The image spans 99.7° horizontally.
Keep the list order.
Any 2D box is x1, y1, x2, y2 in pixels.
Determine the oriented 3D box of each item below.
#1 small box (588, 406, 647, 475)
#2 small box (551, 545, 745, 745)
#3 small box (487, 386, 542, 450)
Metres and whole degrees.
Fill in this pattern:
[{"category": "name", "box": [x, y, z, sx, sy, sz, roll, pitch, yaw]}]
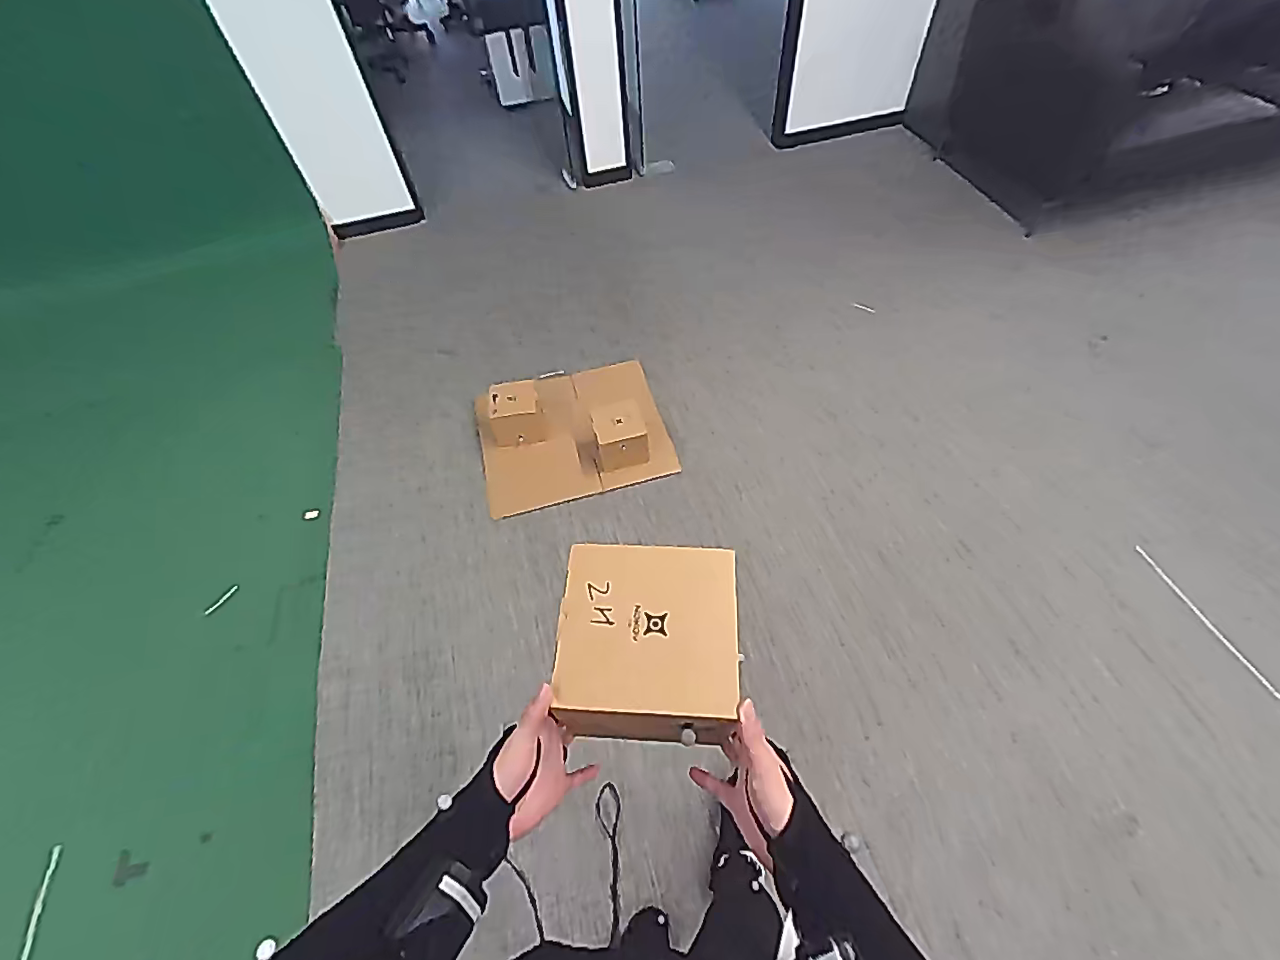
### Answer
[{"category": "small box", "box": [-0.079, -0.137, 1.941, 0.179, 0.176, 0.168, -13, 56, -5]}, {"category": "small box", "box": [0.014, 0.185, 0.590, 0.179, 0.176, 0.168, 2, 56, 4]}, {"category": "small box", "box": [-0.464, -0.229, 2.026, 0.179, 0.176, 0.168, -7, 55, -2]}]
